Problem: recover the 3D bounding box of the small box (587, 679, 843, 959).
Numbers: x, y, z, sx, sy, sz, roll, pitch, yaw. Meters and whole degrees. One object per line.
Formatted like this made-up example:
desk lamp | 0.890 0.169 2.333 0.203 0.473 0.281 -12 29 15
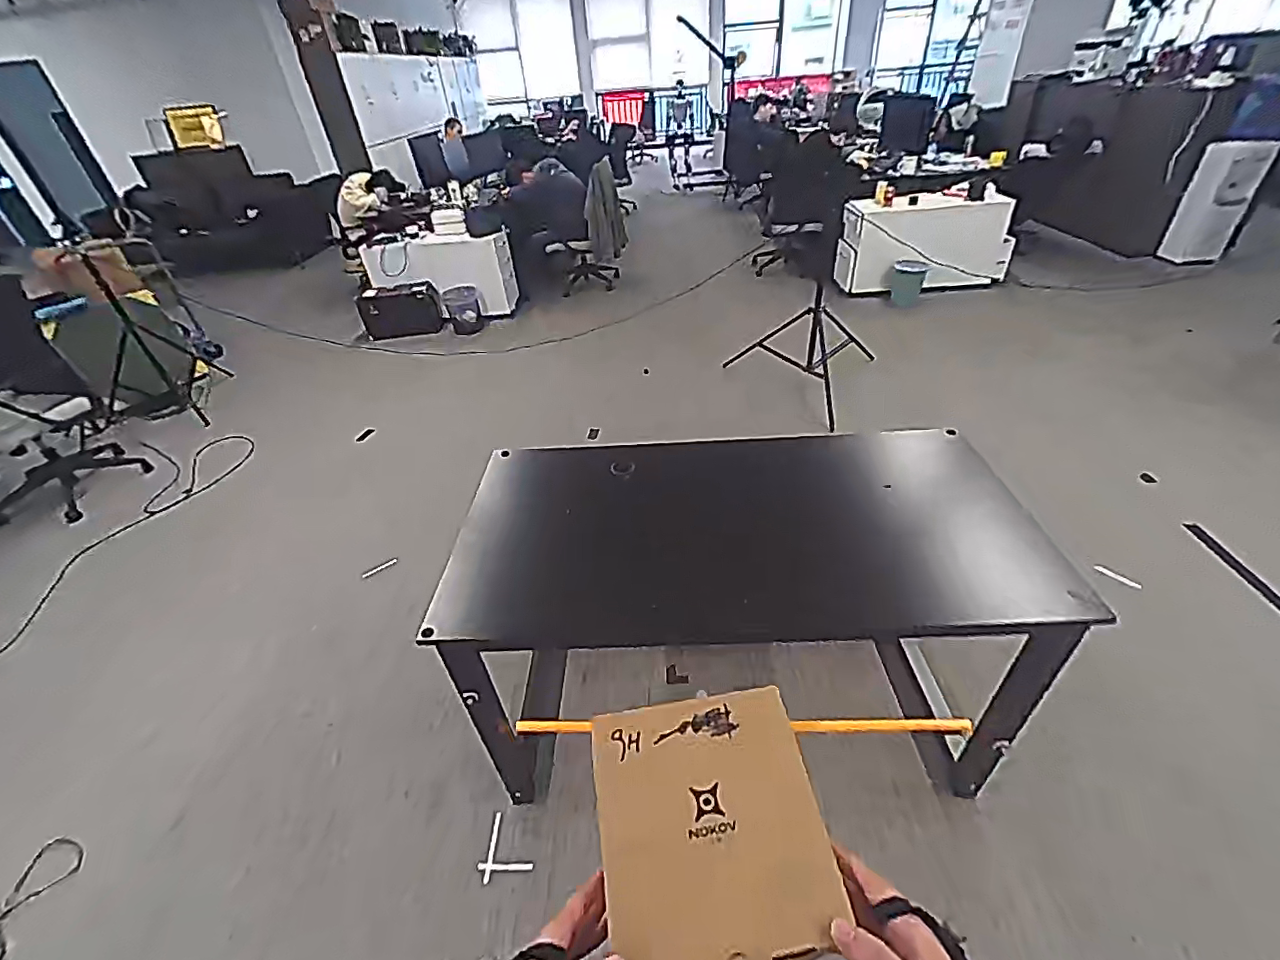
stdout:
small box | 0.052 0.303 0.473 0.168 0.176 0.179 -9 47 -4
